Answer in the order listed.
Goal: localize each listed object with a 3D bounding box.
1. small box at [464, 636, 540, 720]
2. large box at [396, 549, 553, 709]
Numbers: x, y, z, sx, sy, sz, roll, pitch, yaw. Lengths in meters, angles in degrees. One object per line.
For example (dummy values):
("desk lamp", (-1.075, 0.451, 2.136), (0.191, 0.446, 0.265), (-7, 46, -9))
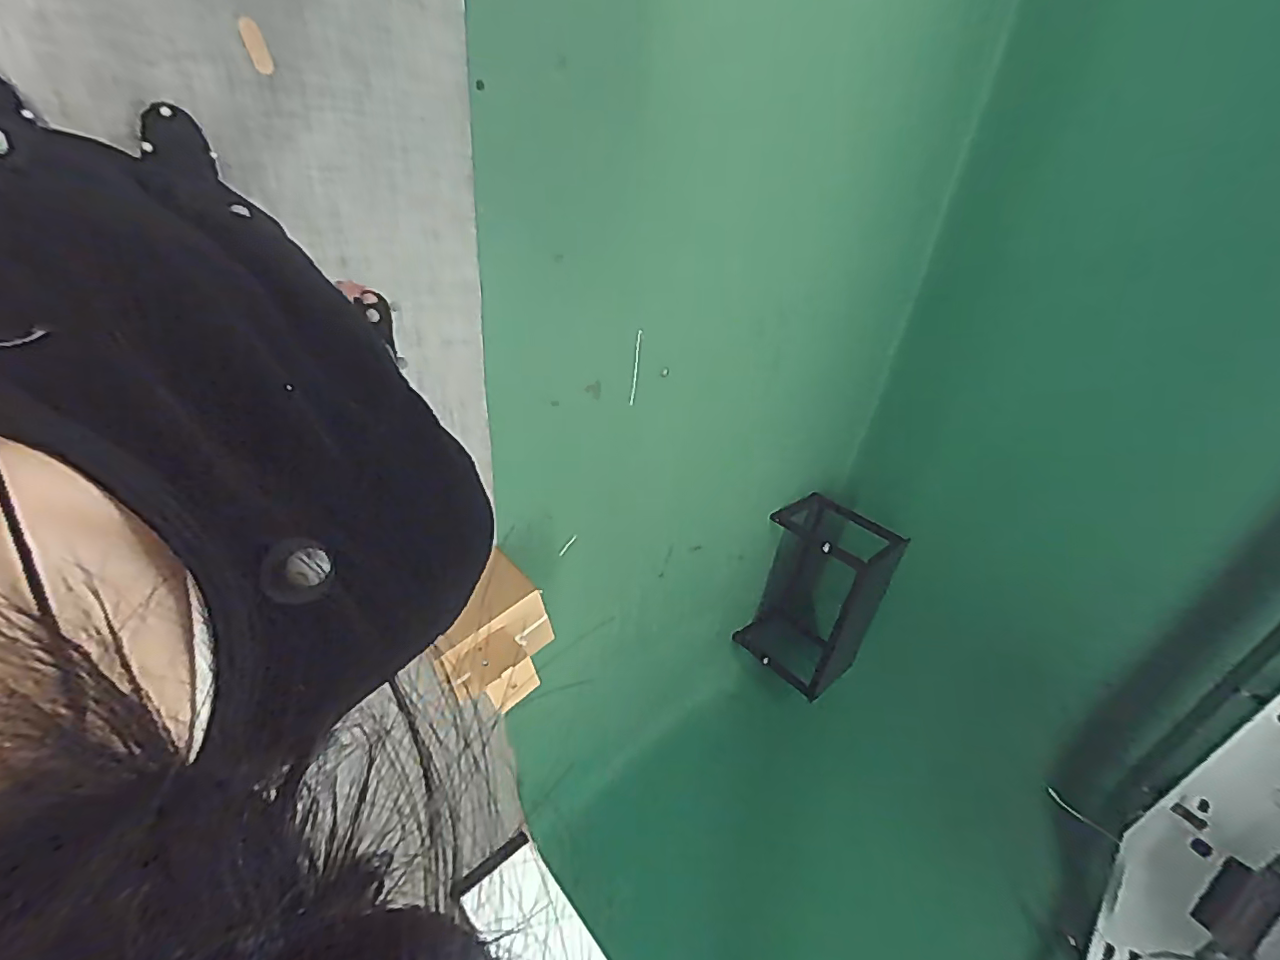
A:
("small box", (-0.462, 0.649, 1.803), (0.168, 0.176, 0.179), (-33, 136, -28))
("large box", (-0.595, 0.533, 1.979), (0.408, 0.320, 0.320), (-35, 139, -29))
